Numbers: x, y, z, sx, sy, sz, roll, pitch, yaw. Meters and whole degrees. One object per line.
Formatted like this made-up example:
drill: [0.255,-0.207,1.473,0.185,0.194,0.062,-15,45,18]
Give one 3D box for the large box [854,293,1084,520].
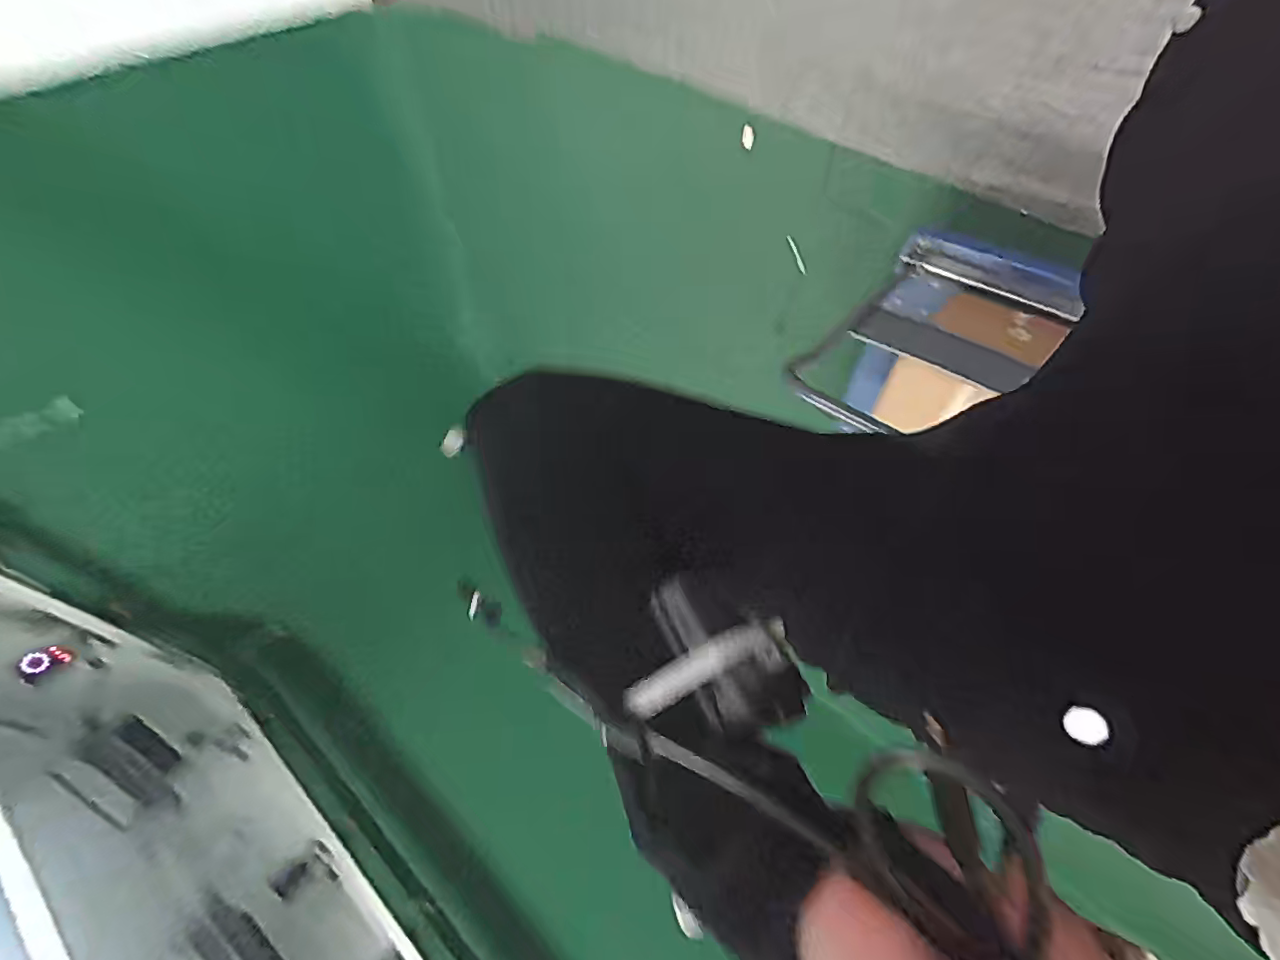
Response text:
large box: [0.802,-0.183,1.361,0.320,0.320,0.408,34,151,24]
